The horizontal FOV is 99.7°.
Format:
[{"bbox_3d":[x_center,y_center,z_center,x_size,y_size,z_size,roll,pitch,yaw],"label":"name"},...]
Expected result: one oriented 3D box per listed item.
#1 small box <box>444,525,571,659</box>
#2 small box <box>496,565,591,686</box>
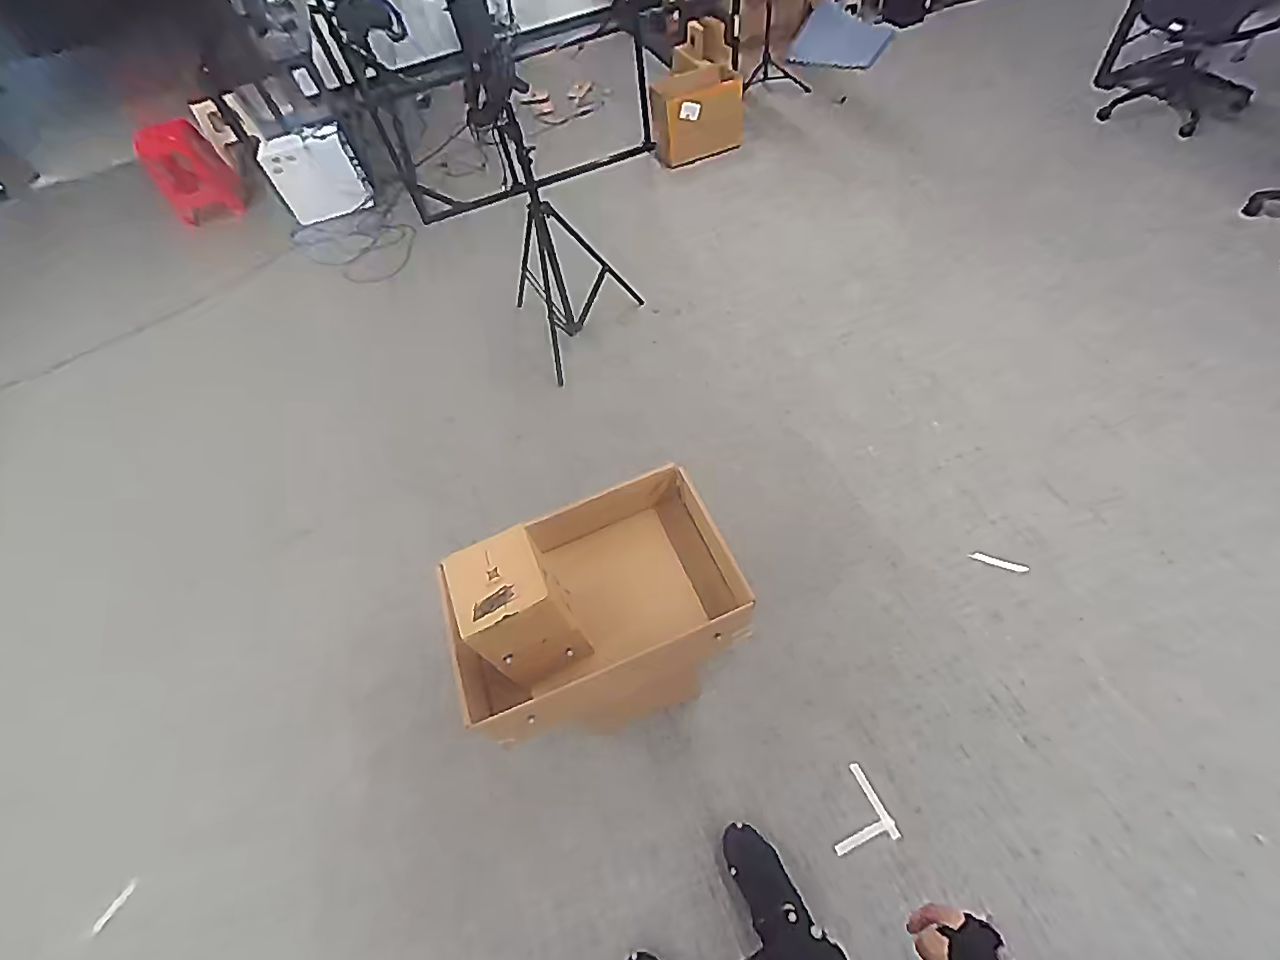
[{"bbox_3d":[-0.249,0.224,1.039,0.168,0.176,0.179,-25,54,-7],"label":"small box"},{"bbox_3d":[-0.219,0.318,1.170,0.179,0.176,0.168,-27,55,-7],"label":"small box"}]
